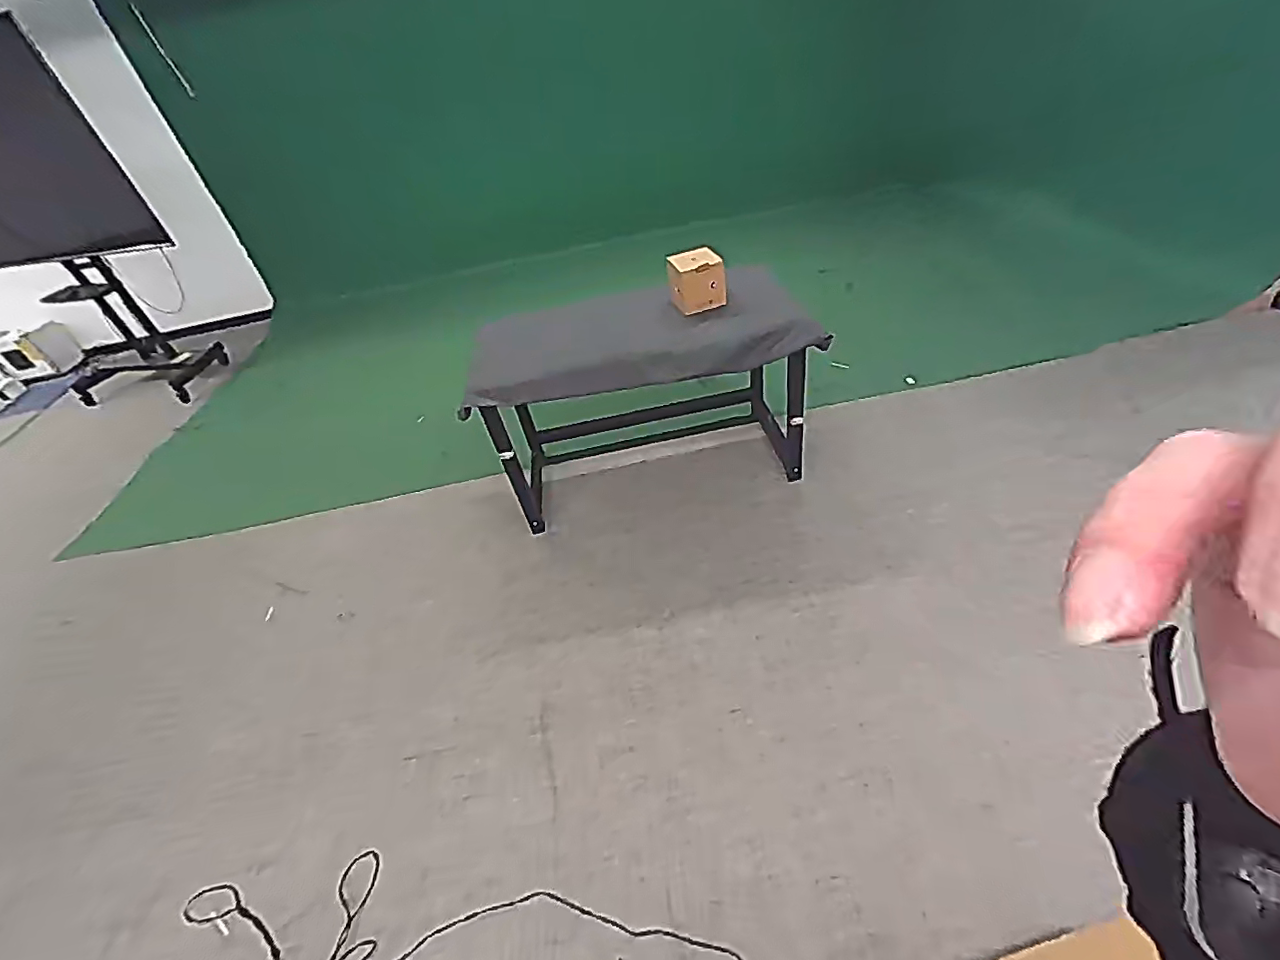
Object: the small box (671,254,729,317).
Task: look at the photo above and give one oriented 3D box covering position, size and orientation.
[{"bbox_3d":[0.229,-0.730,2.043,0.168,0.176,0.179,-16,39,-7],"label":"small box"}]
